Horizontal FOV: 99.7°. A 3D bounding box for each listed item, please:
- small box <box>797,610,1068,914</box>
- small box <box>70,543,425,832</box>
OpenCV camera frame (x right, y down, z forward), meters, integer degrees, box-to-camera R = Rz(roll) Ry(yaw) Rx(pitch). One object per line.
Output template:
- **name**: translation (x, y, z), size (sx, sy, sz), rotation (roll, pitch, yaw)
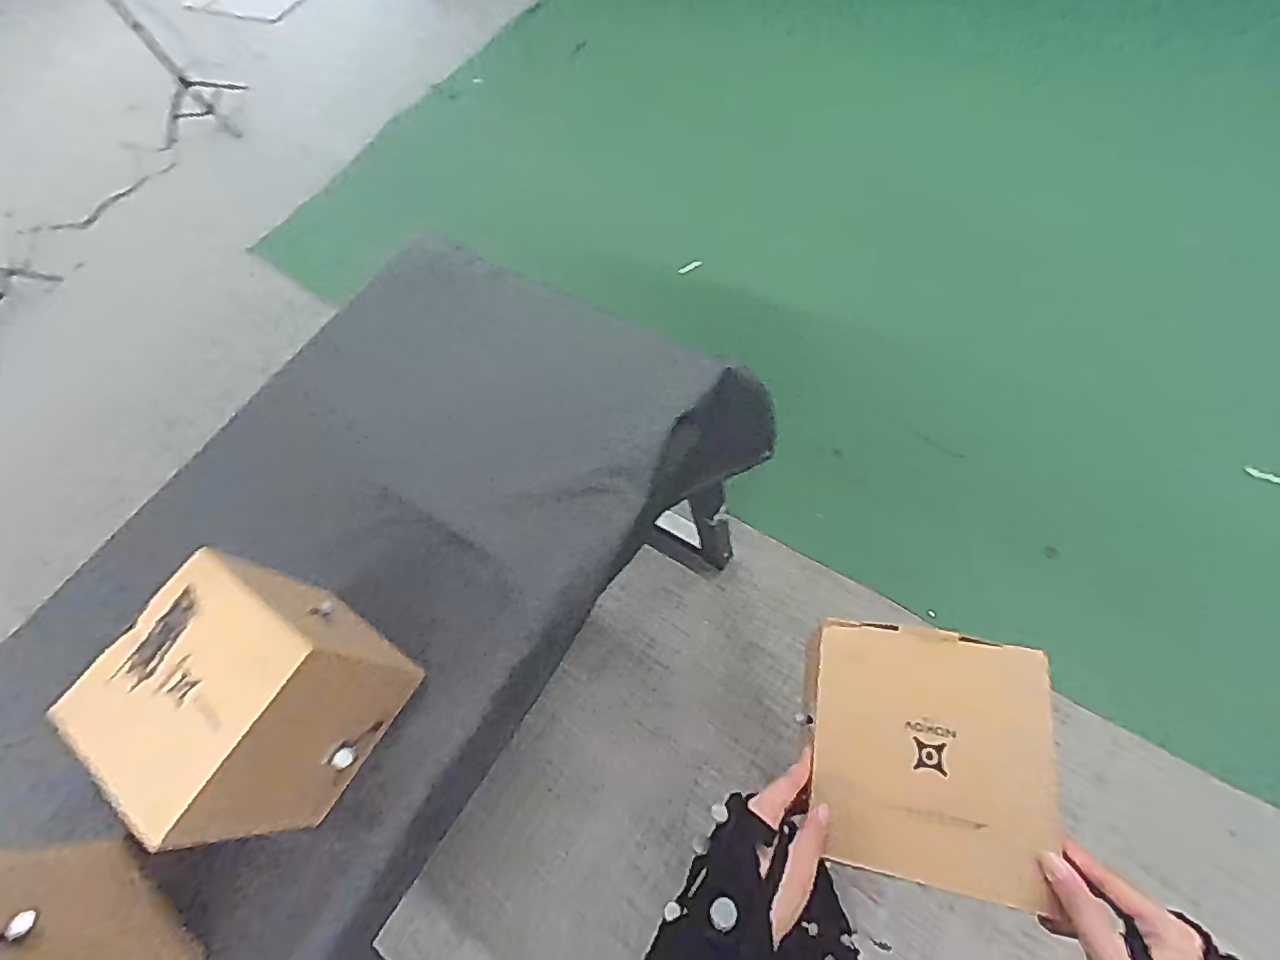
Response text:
- **small box**: translation (0.231, 0.226, 0.473), size (0.168, 0.176, 0.179), rotation (5, 69, 15)
- **small box**: translation (-0.349, 0.192, 0.511), size (0.179, 0.176, 0.168), rotation (27, 72, 23)
